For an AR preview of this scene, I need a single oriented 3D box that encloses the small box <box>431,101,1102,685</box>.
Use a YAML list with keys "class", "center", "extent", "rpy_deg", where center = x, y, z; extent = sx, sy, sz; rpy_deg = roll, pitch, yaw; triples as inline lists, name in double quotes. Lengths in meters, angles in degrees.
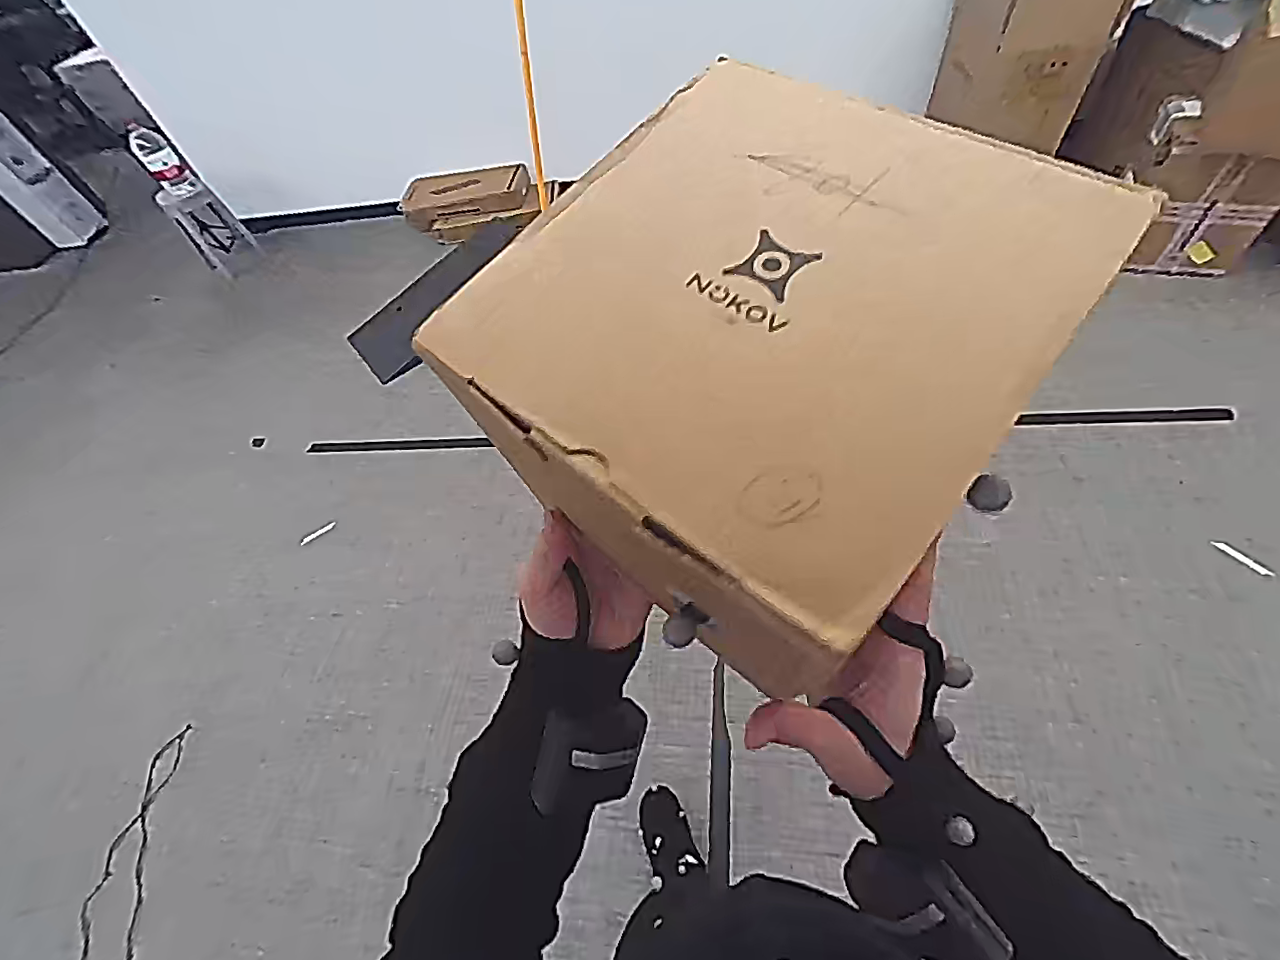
- class: "small box"
  center: [0.049, -0.026, 0.257]
  extent: [0.168, 0.176, 0.179]
  rpy_deg: [35, 74, 21]
